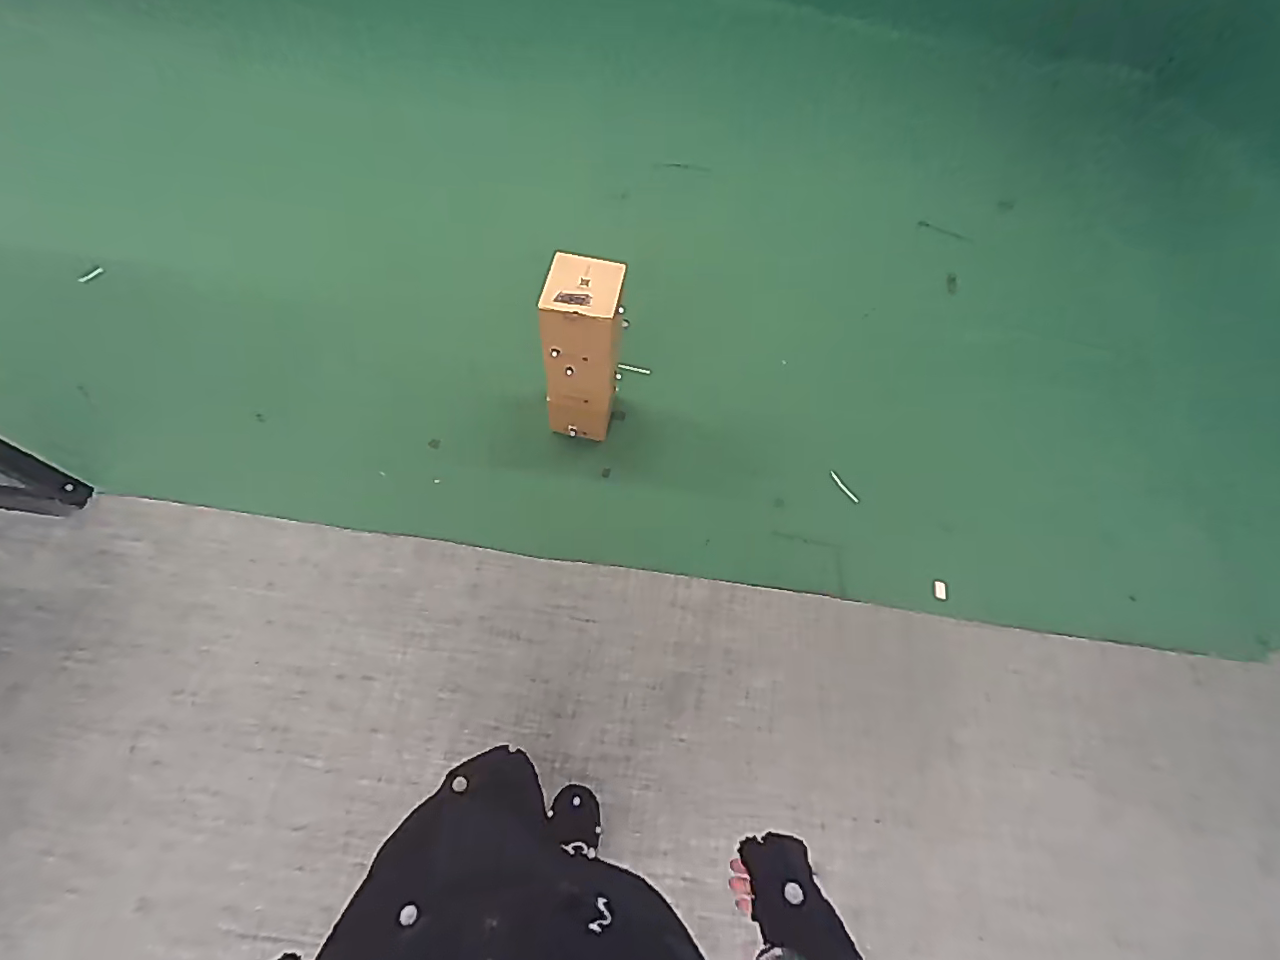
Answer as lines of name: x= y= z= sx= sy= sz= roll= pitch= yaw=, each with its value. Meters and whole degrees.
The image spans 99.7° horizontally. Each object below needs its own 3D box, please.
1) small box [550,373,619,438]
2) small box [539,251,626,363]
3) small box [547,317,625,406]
small box: x=-0.157 y=-0.246 z=1.561 sx=0.168 sy=0.176 sz=0.179 roll=10 pitch=65 yaw=0
small box: x=-0.130 y=-0.401 z=1.272 sx=0.168 sy=0.176 sz=0.179 roll=11 pitch=62 yaw=0
small box: x=-0.140 y=-0.322 z=1.416 sx=0.168 sy=0.176 sz=0.179 roll=10 pitch=63 yaw=1
